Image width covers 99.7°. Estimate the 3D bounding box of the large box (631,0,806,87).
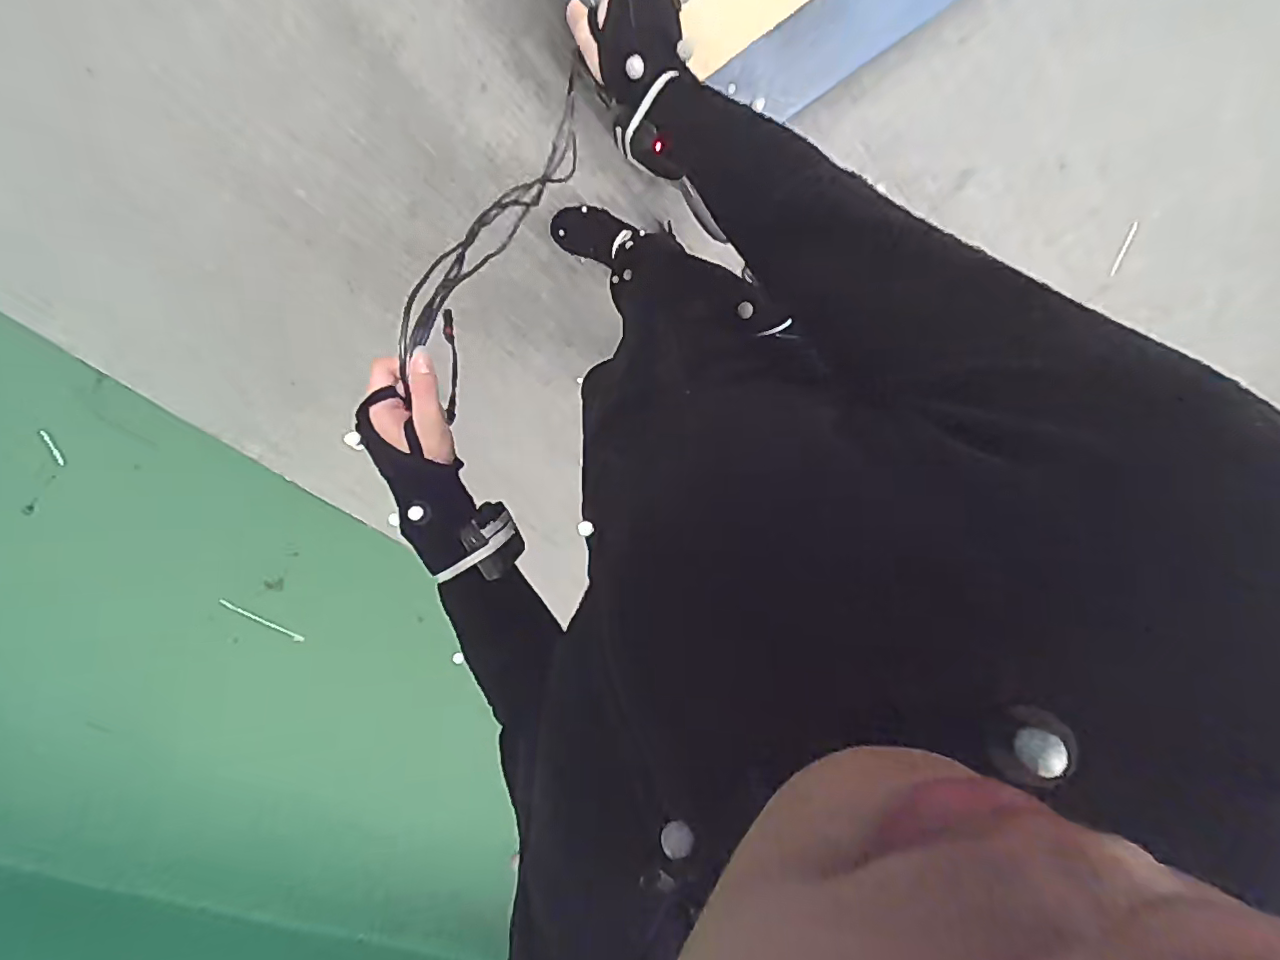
[{"bbox_3d":[0.163,-0.890,0.824,0.408,0.320,0.320,-28,122,13],"label":"large box"}]
